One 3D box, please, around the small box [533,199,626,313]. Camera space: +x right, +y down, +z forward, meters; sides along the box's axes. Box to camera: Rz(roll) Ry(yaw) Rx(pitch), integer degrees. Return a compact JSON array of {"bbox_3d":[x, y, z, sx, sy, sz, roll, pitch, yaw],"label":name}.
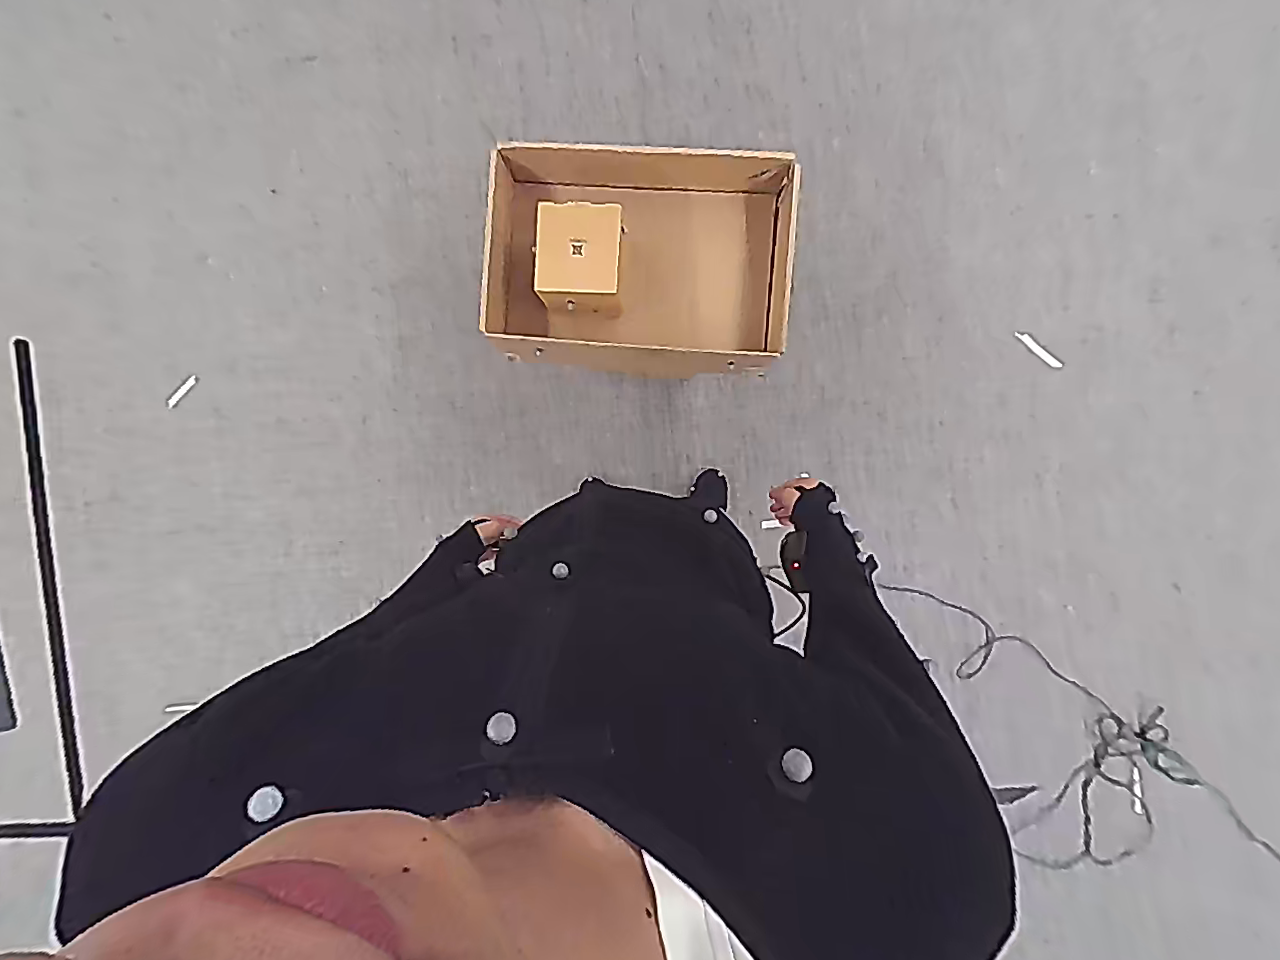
[{"bbox_3d":[-0.118,-0.455,1.123,0.168,0.176,0.179,3,91,3],"label":"small box"}]
